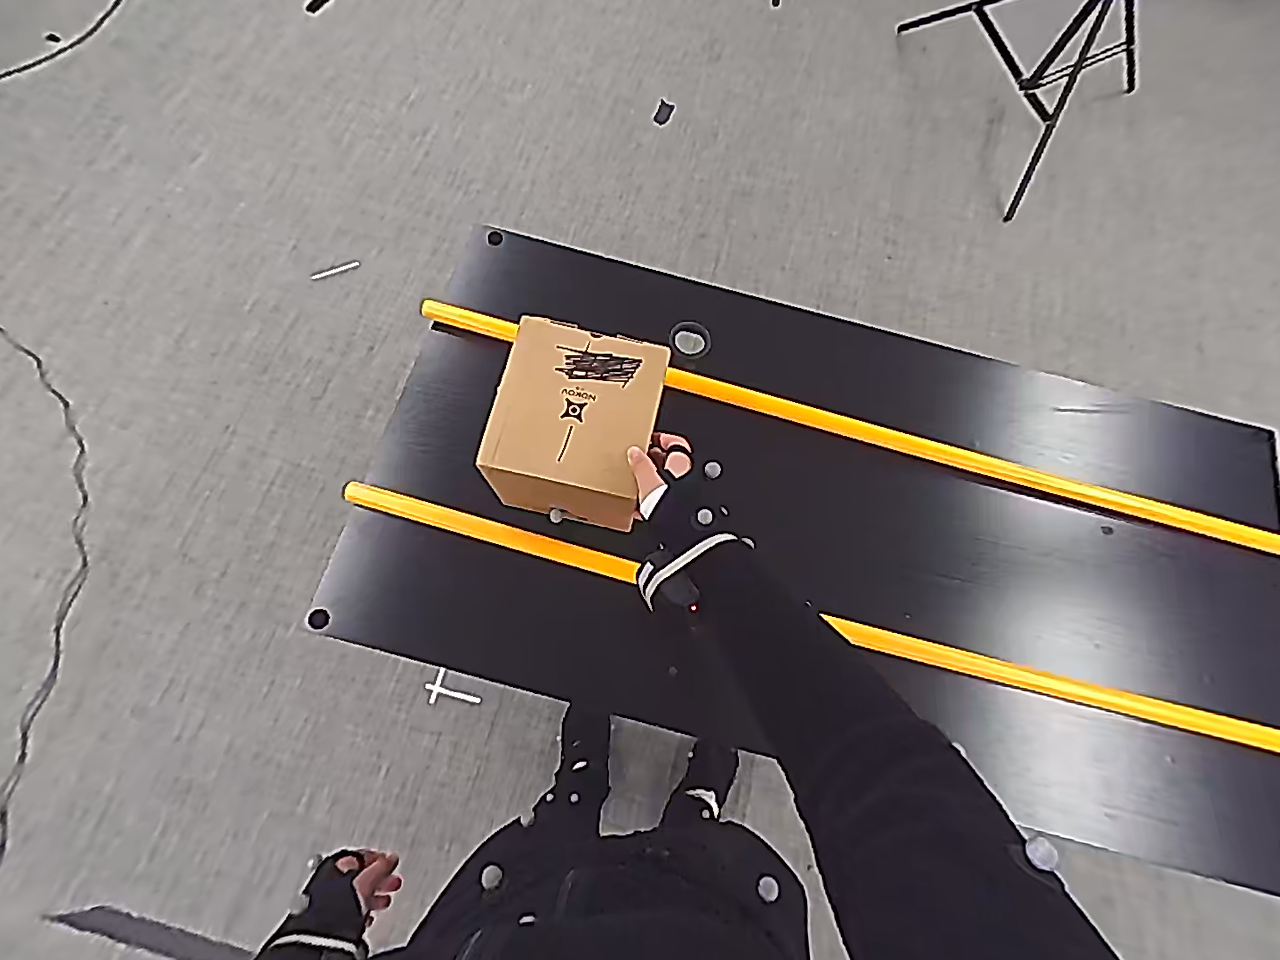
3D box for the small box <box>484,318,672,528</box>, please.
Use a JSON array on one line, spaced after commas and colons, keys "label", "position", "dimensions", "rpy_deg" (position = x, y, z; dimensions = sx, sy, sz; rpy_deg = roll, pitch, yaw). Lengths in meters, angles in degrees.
[{"label": "small box", "position": [-0.067, -0.057, 0.641], "dimensions": [0.168, 0.176, 0.179], "rpy_deg": [12, 73, 0]}]
